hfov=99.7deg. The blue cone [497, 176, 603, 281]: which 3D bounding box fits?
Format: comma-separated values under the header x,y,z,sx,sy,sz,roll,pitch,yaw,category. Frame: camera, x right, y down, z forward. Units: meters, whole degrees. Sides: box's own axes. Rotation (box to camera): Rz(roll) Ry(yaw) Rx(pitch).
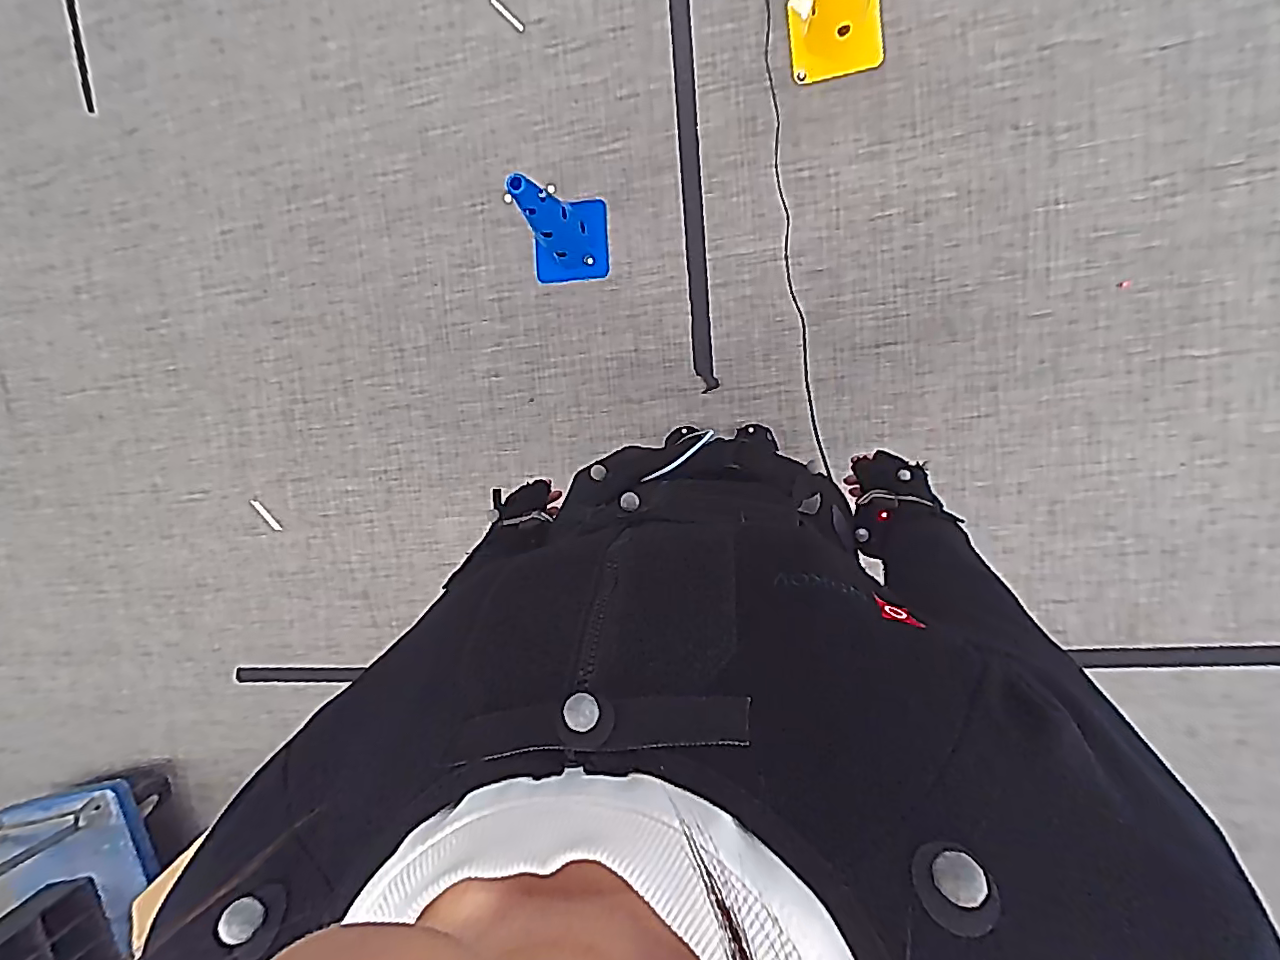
x,y,z,sx,sy,sz,roll,pitch,yaw,category
-0.224,-0.613,1.264,0.192,0.380,0.193,0,96,12,blue cone
